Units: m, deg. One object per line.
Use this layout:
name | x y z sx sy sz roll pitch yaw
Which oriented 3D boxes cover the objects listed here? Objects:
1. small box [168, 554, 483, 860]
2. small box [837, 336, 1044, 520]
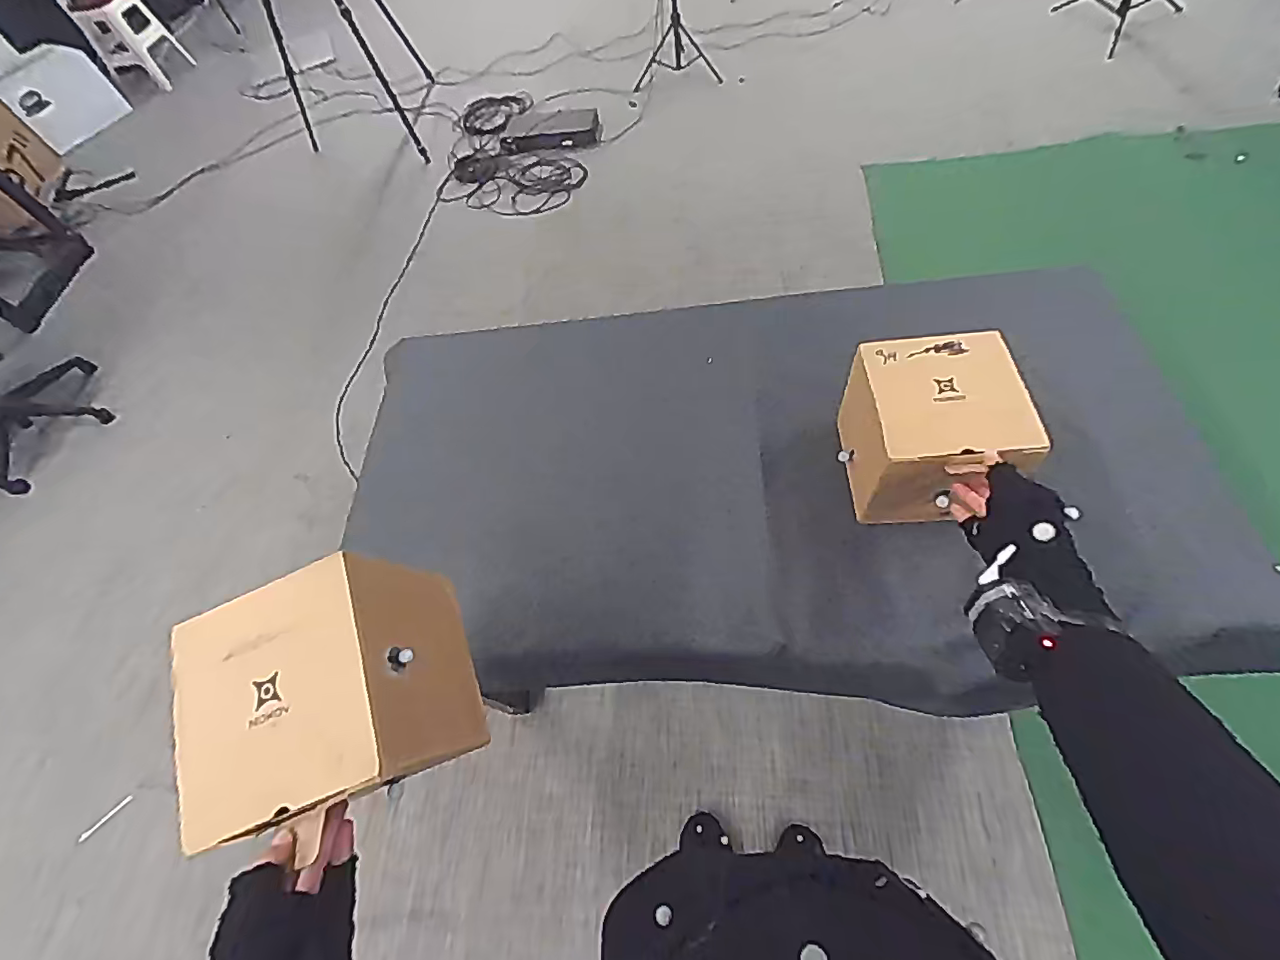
small box | -0.263 0.187 0.480 0.168 0.176 0.179 -24 68 3
small box | 0.361 -0.056 0.692 0.168 0.176 0.179 -3 60 6
